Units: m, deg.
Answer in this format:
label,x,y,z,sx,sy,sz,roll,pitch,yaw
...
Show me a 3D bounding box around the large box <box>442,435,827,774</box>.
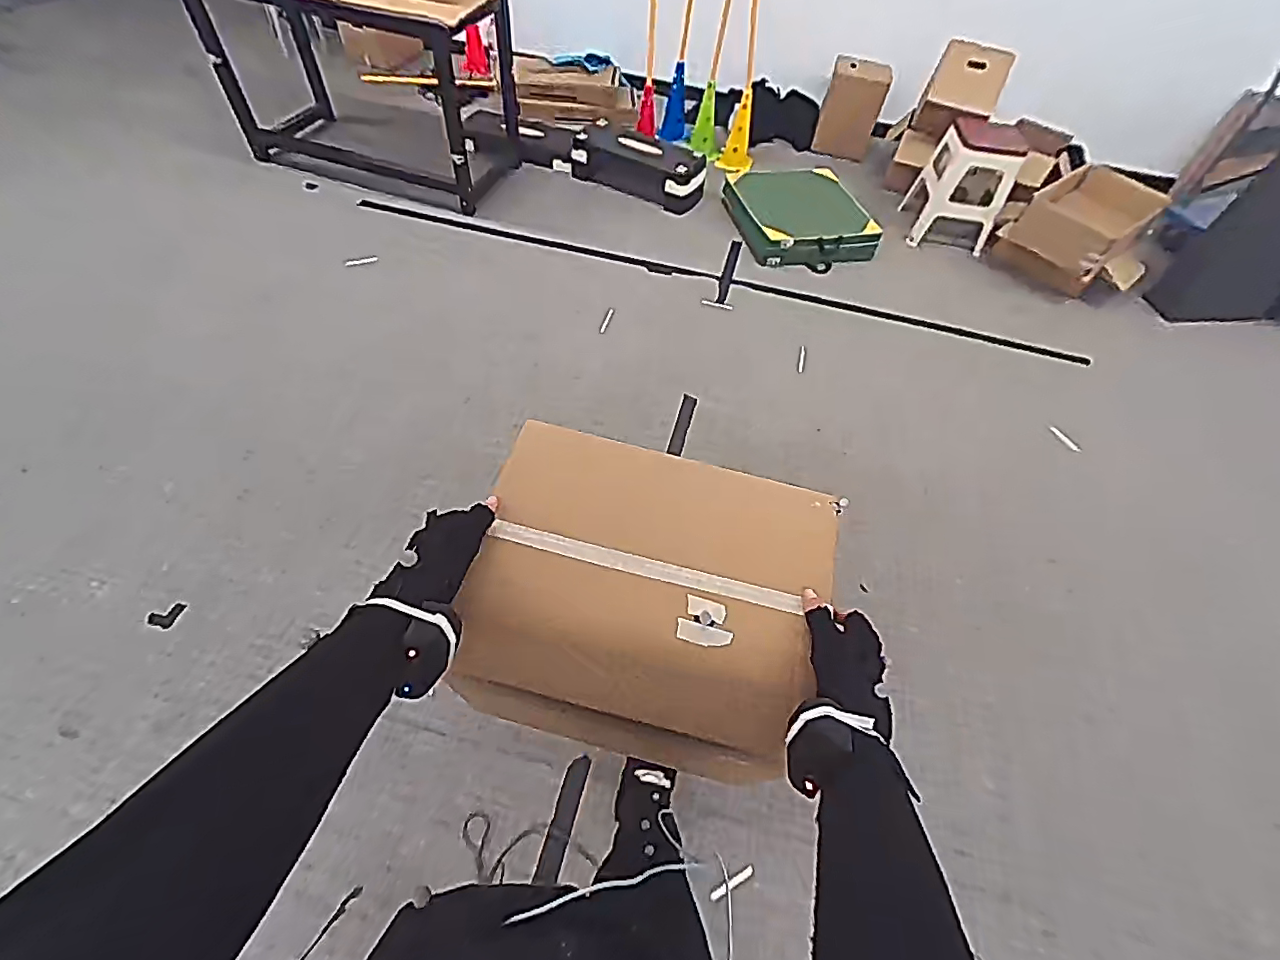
label,x,y,z,sx,sy,sz,roll,pitch,yaw
large box,0.001,0.186,0.753,0.408,0.320,0.320,14,59,2
